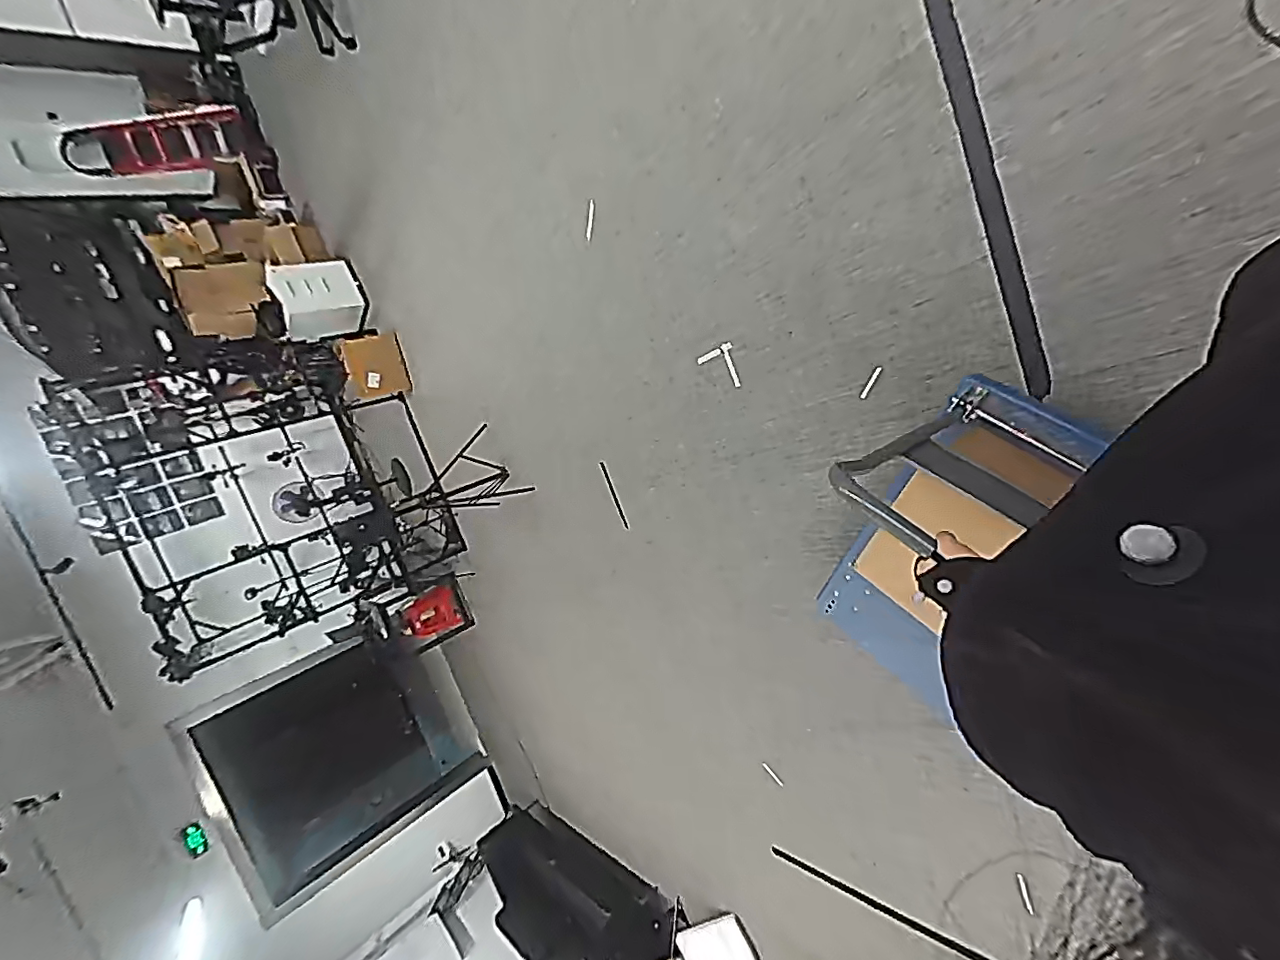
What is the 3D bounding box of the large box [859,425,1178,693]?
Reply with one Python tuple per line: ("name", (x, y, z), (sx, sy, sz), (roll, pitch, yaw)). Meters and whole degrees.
("large box", (0.767, 0.144, 1.136), (0.408, 0.320, 0.320), (42, 137, 30))
